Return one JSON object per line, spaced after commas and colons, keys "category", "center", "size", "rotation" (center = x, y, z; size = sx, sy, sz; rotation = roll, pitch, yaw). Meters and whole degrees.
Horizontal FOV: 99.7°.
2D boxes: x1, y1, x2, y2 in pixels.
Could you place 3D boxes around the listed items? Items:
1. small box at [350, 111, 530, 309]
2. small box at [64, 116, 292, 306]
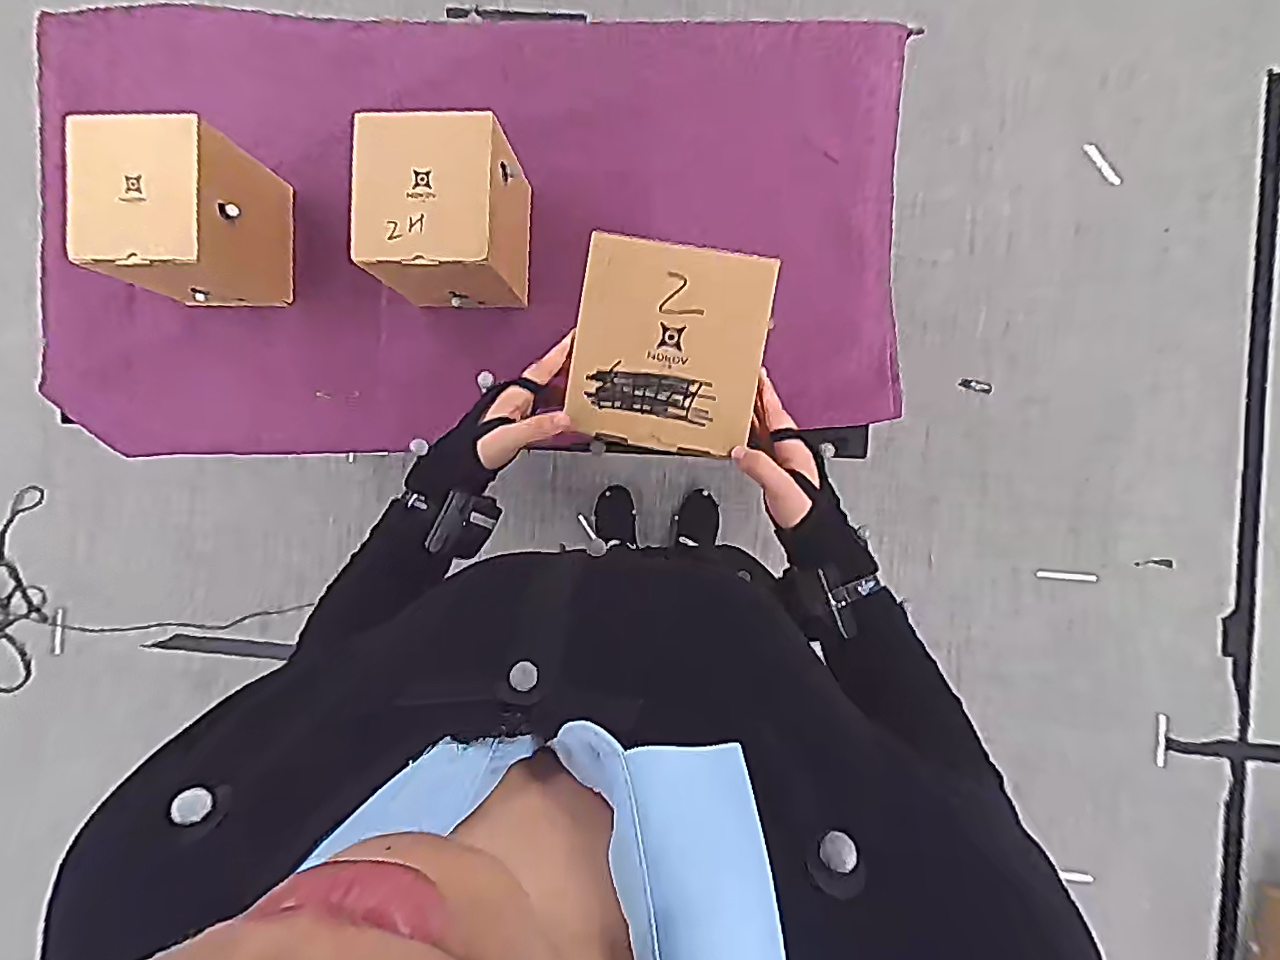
{"category": "small box", "center": [-0.246, -0.337, 0.700], "size": [0.168, 0.176, 0.179], "rotation": [2, 91, 4]}
{"category": "small box", "center": [-0.598, -0.347, 0.722], "size": [0.168, 0.176, 0.179], "rotation": [1, 92, 2]}
